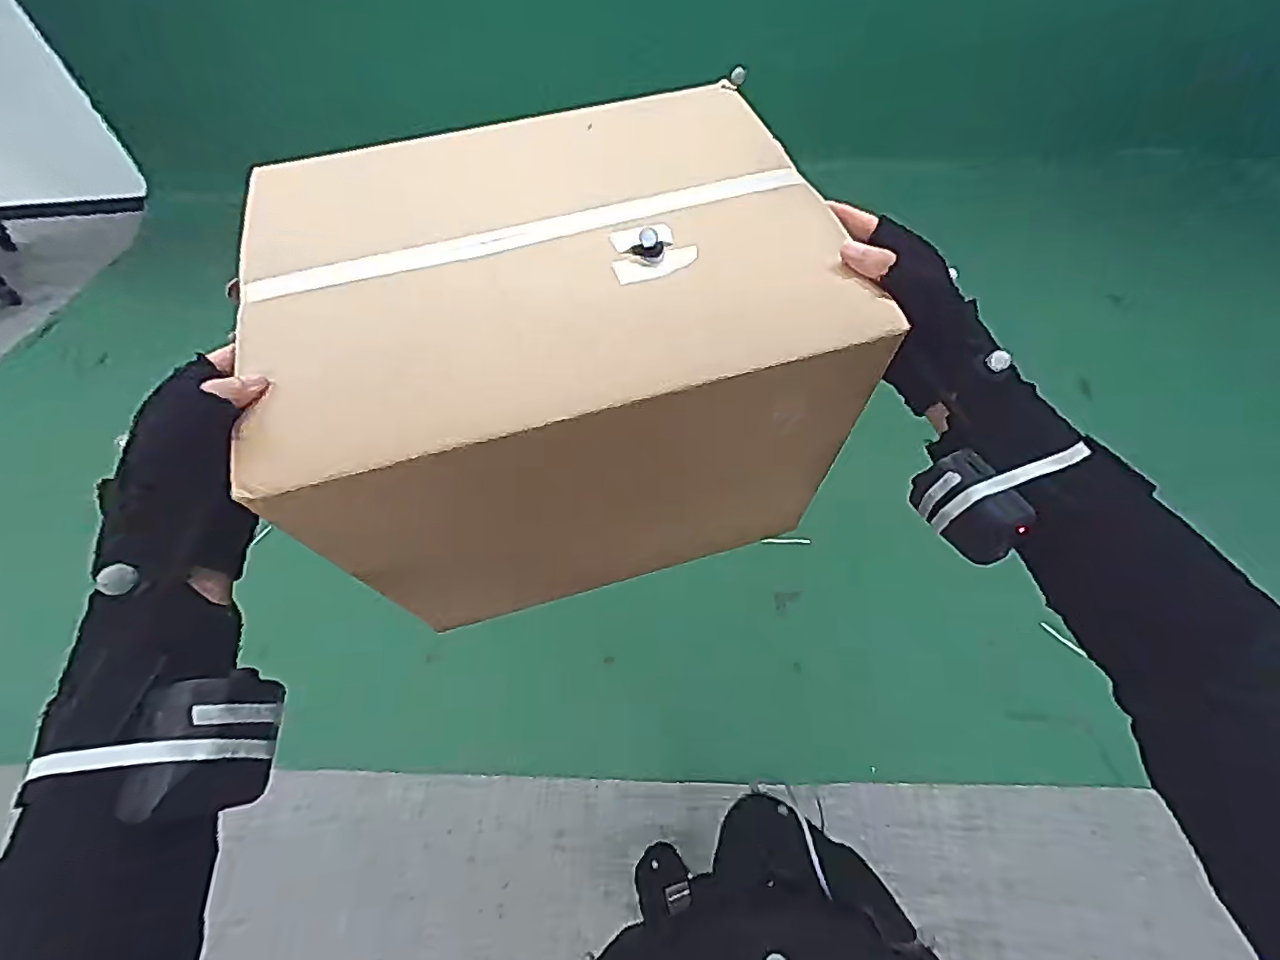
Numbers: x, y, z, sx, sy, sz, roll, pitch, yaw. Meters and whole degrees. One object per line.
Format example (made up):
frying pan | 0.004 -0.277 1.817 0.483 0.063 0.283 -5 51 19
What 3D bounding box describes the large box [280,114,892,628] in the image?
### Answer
large box | -0.060 -0.091 0.535 0.408 0.320 0.320 -15 62 -8
